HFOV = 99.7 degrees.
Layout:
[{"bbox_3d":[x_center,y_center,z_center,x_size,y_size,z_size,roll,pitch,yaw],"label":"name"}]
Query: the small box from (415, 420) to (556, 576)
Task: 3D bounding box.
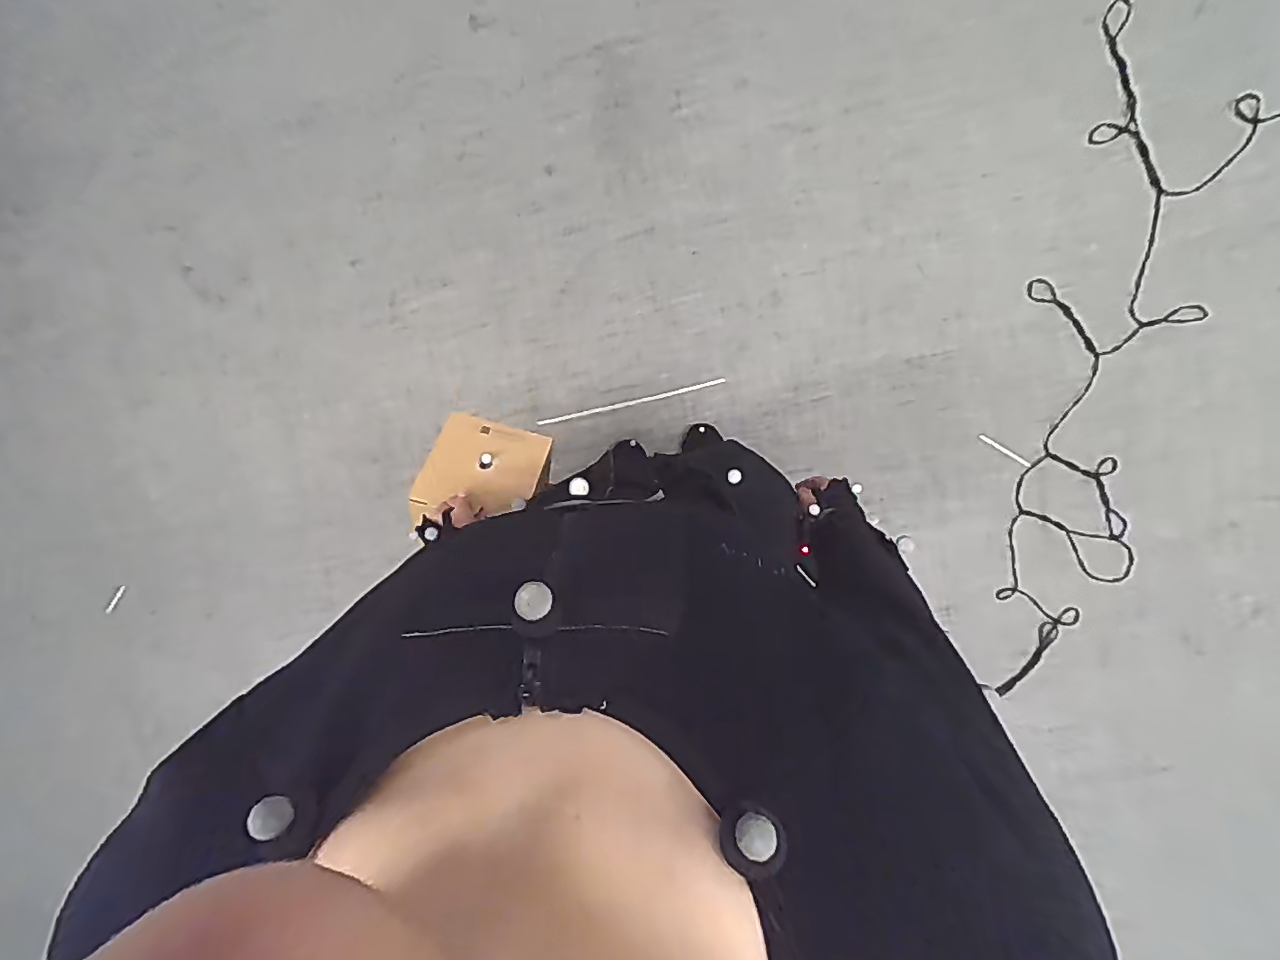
[{"bbox_3d":[-0.240,0.029,0.875,0.168,0.179,0.176,15,55,-2],"label":"small box"}]
